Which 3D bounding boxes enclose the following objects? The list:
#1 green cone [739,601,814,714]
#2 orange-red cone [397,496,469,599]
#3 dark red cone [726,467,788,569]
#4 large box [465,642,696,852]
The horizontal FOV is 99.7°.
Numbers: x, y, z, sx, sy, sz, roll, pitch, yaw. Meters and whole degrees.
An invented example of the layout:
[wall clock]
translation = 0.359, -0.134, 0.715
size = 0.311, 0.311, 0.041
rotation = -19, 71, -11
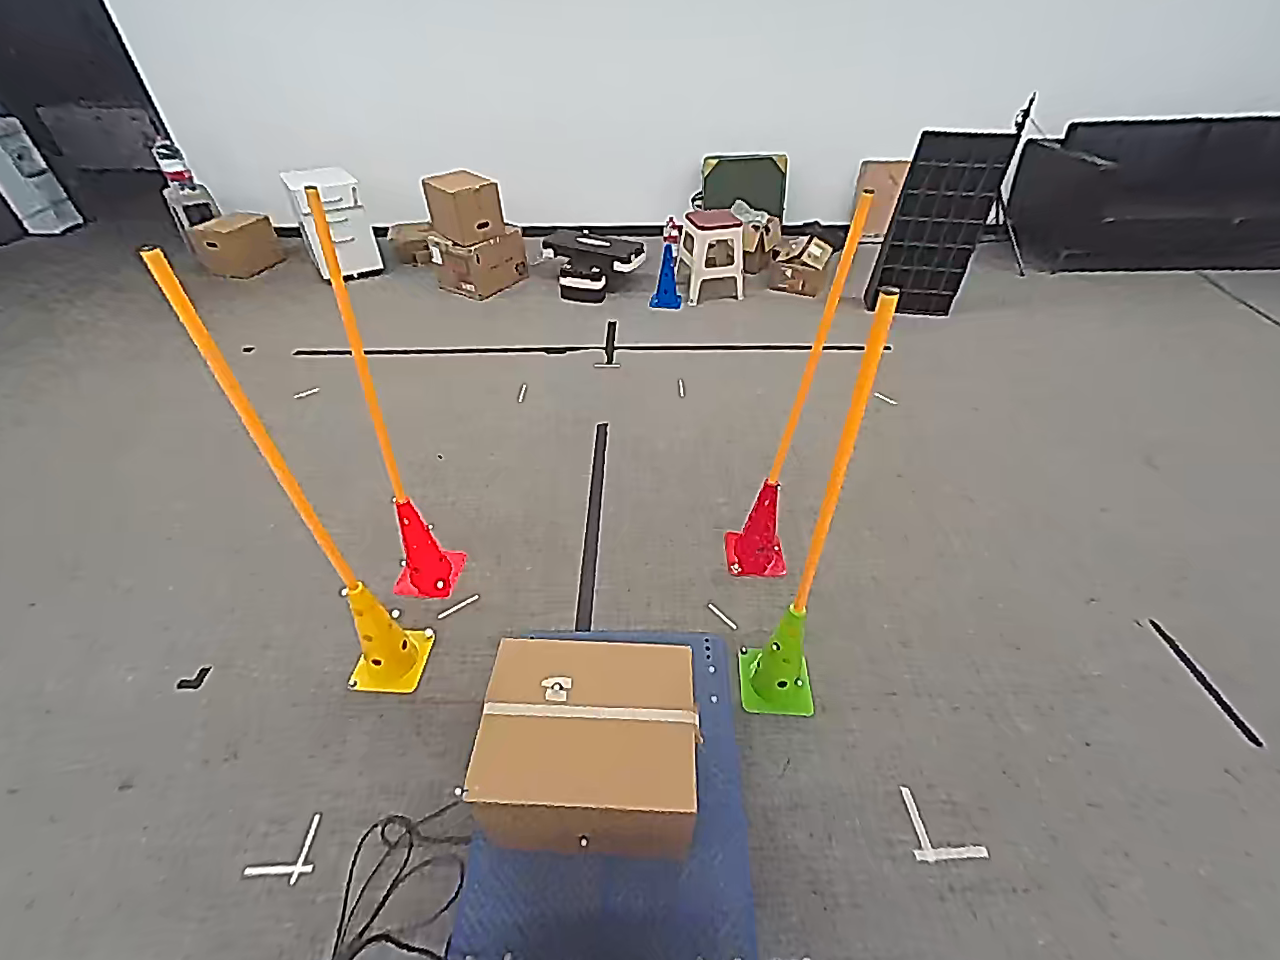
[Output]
[green cone]
translation = 0.398, 0.454, 1.465
size = 0.202, 0.368, 0.200
rotation = 3, 42, 2
[orange-red cone]
translation = -0.712, 0.193, 1.763
size = 0.198, 0.360, 0.199
rotation = 6, 41, 5
[dark red cone]
translation = 0.418, 0.119, 1.816
size = 0.201, 0.394, 0.202
rotation = 1, 42, -1
[large box]
translation = -0.095, 0.559, 1.131
size = 0.408, 0.320, 0.320
rotation = 1, 42, 3
